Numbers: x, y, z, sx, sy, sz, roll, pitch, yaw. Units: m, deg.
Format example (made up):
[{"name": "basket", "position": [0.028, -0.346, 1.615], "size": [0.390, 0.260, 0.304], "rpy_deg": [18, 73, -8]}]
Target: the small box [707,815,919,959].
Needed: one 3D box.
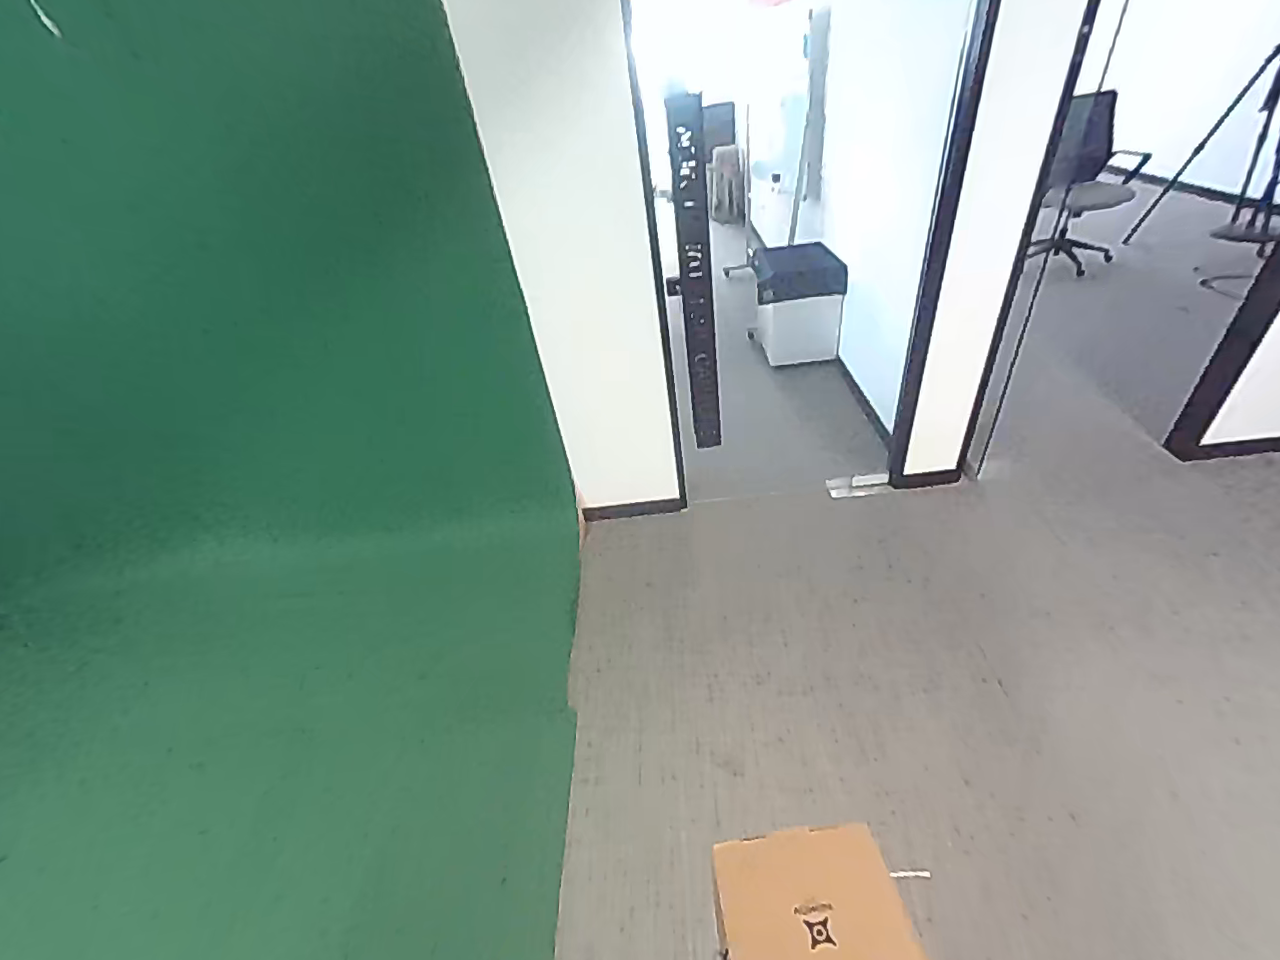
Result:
[{"name": "small box", "position": [0.161, 0.468, 0.522], "size": [0.168, 0.176, 0.179], "rpy_deg": [-8, 24, 1]}]
